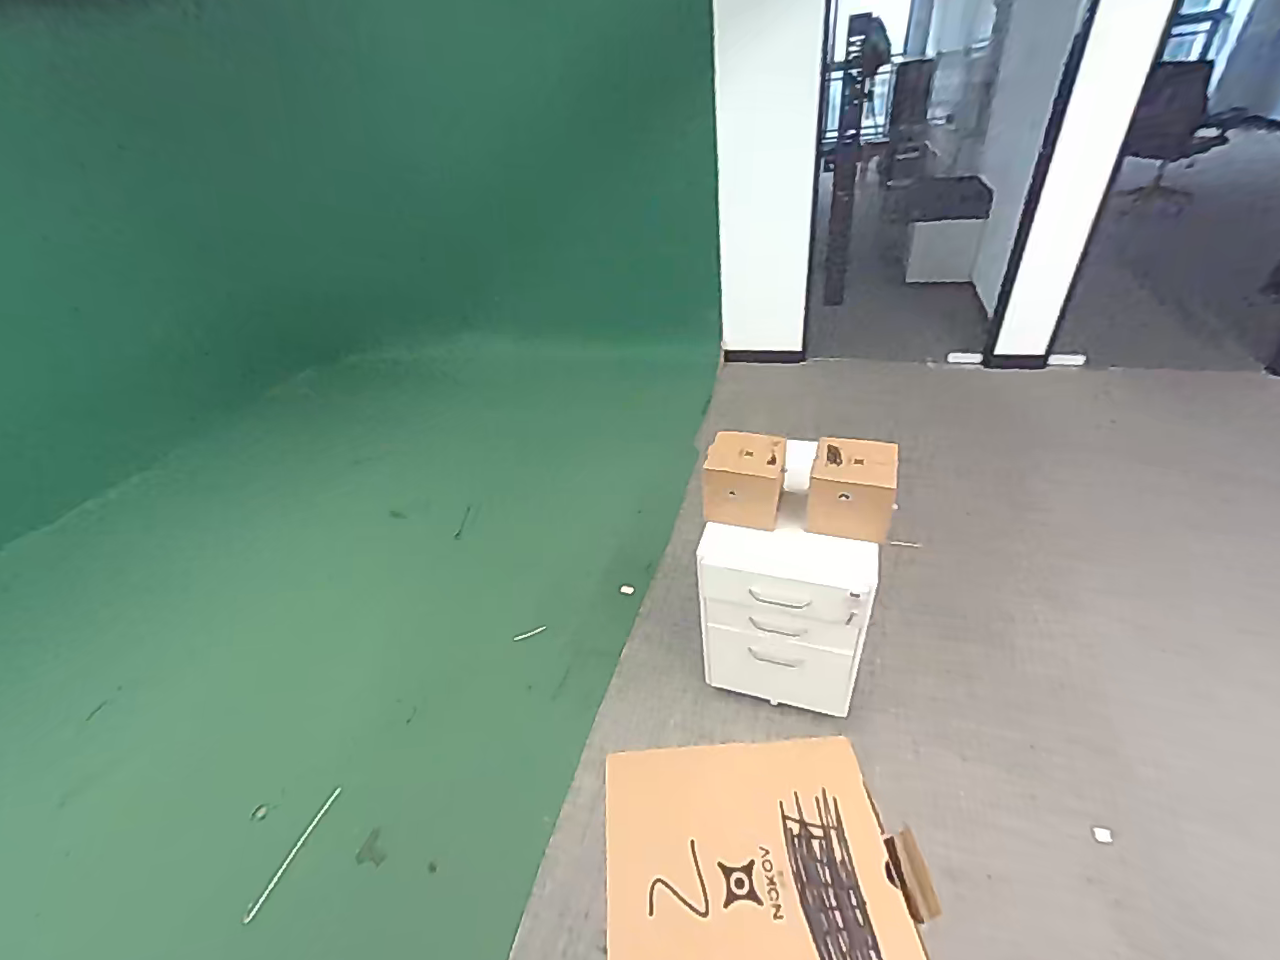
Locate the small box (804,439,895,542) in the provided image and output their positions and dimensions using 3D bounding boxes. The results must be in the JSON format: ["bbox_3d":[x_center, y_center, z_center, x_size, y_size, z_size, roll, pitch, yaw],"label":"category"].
[{"bbox_3d":[0.488,0.025,1.267,0.179,0.176,0.168,9,41,21],"label":"small box"}]

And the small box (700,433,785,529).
[{"bbox_3d":[0.255,0.003,1.337,0.179,0.176,0.168,8,41,19],"label":"small box"}]
